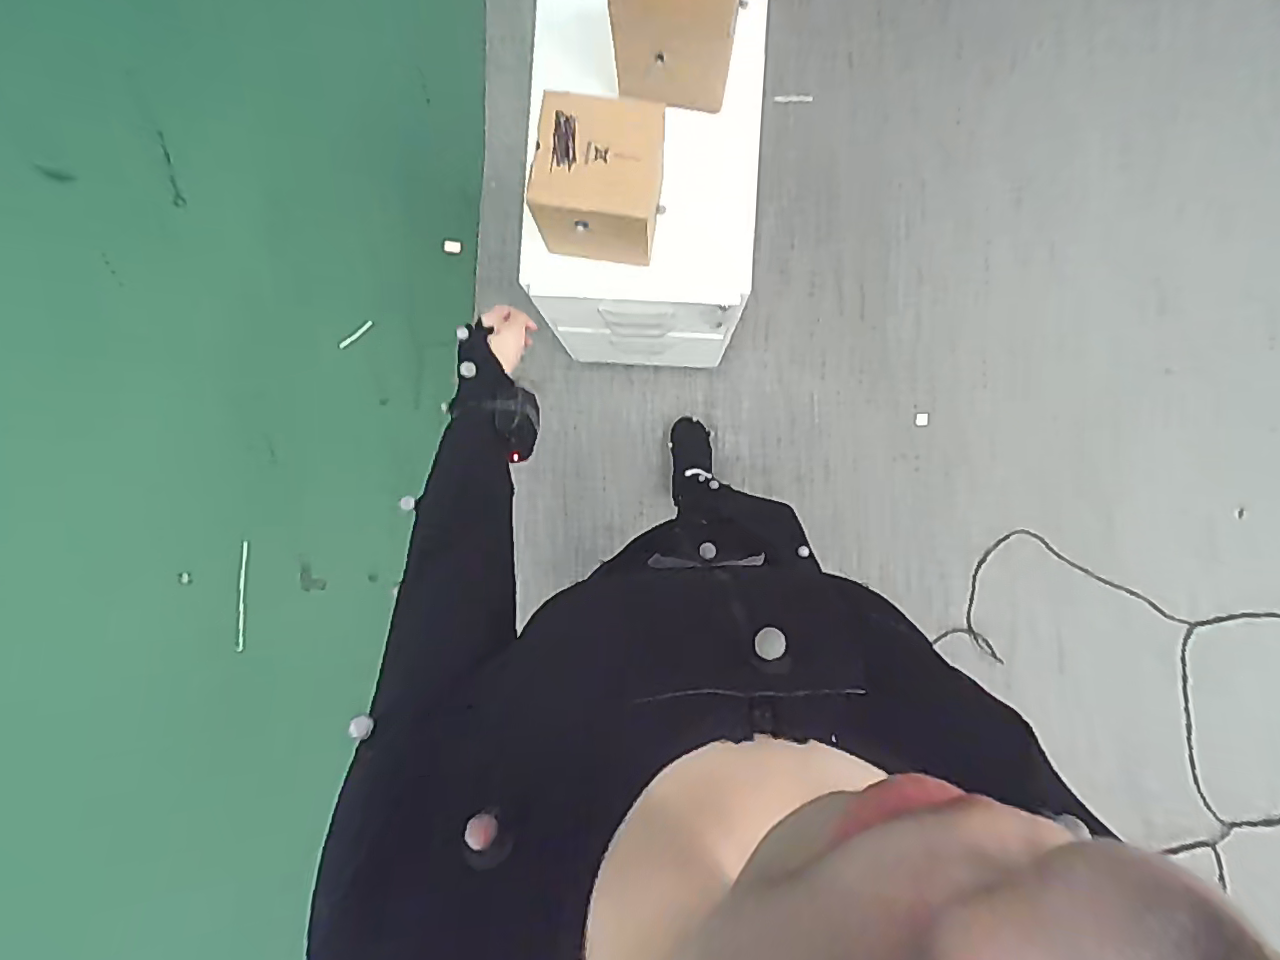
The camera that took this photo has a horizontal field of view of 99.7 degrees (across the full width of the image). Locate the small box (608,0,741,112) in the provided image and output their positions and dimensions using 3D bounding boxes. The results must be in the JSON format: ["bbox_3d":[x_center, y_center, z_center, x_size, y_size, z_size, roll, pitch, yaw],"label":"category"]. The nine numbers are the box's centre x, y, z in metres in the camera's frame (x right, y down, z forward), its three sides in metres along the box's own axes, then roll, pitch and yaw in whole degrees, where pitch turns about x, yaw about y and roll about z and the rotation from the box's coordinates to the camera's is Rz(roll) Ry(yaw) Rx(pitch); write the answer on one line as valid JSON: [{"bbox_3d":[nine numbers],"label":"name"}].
[{"bbox_3d":[0.059,-0.710,0.835,0.179,0.176,0.168,11,90,3],"label":"small box"}]

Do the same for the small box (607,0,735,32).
[{"bbox_3d":[0.047,-0.710,0.673,0.179,0.176,0.168,10,90,3],"label":"small box"}]

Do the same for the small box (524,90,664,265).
[{"bbox_3d":[-0.062,-0.453,0.835,0.179,0.176,0.168,9,89,1],"label":"small box"}]
